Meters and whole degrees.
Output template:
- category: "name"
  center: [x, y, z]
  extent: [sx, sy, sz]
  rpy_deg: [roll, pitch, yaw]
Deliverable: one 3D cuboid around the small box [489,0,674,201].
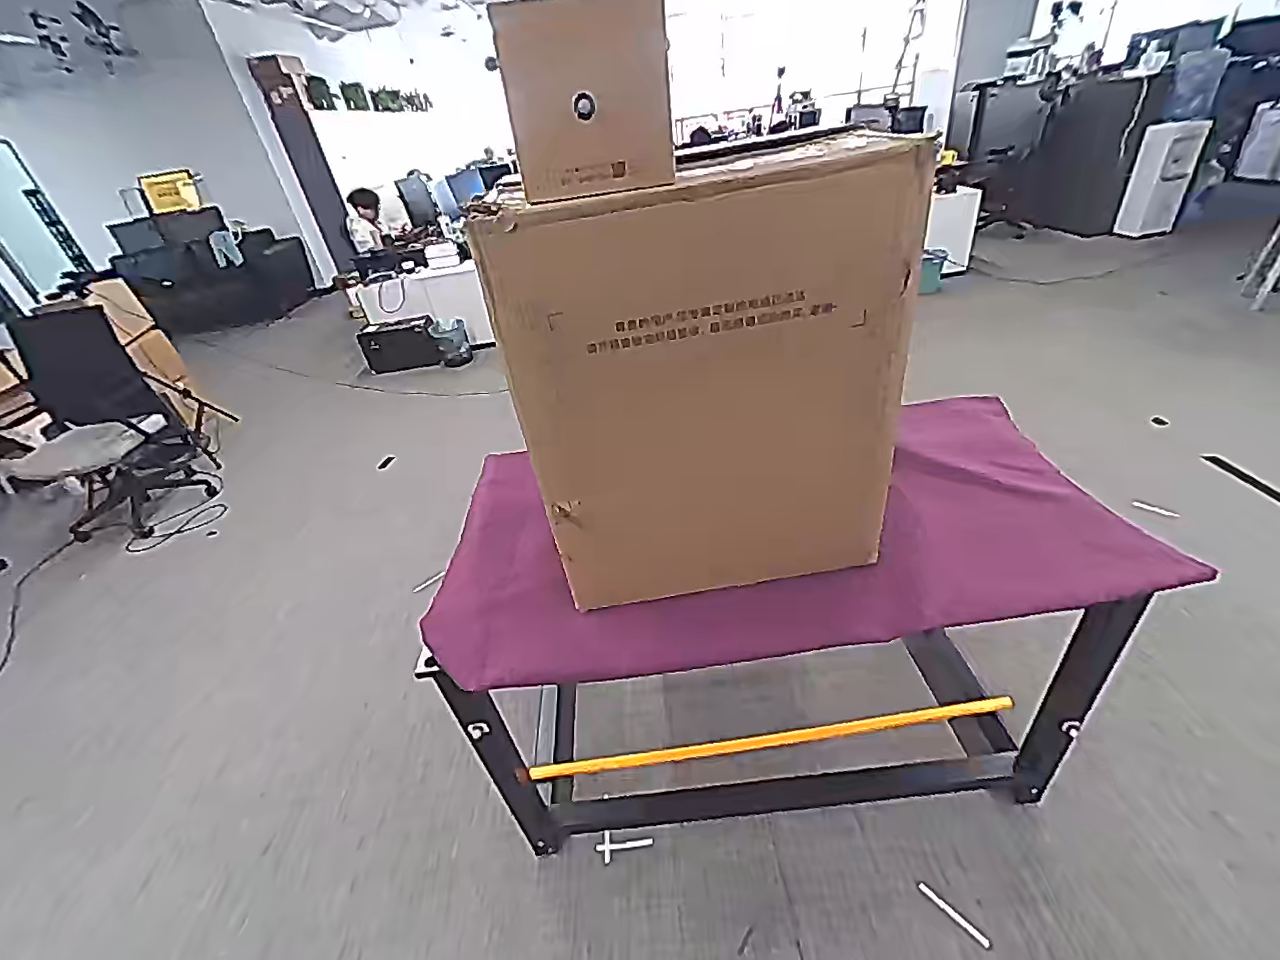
- category: "small box"
  center: [-0.058, -0.421, 0.608]
  extent: [0.168, 0.176, 0.179]
  rpy_deg: [-8, 35, -2]
